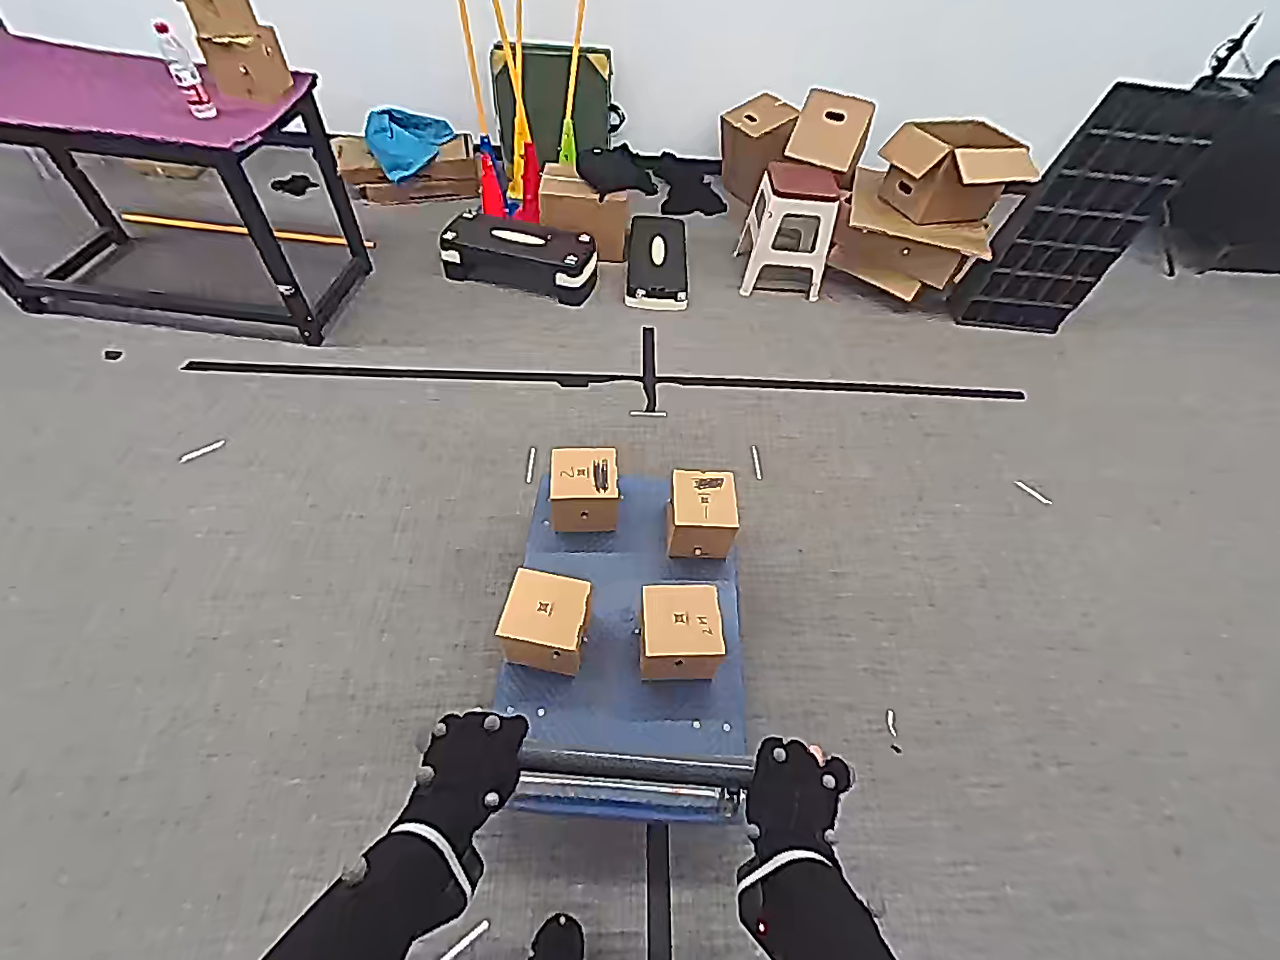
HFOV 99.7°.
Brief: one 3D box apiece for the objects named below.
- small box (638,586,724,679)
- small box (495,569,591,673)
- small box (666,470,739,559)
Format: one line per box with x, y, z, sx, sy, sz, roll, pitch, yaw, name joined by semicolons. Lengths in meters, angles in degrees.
0.086;0.357;1.255;0.179;0.176;0.168;1;54;-4;small box
-0.217;0.329;1.248;0.179;0.176;0.168;11;53;1;small box
0.161;0.094;1.457;0.168;0.176;0.179;3;54;-3;small box
